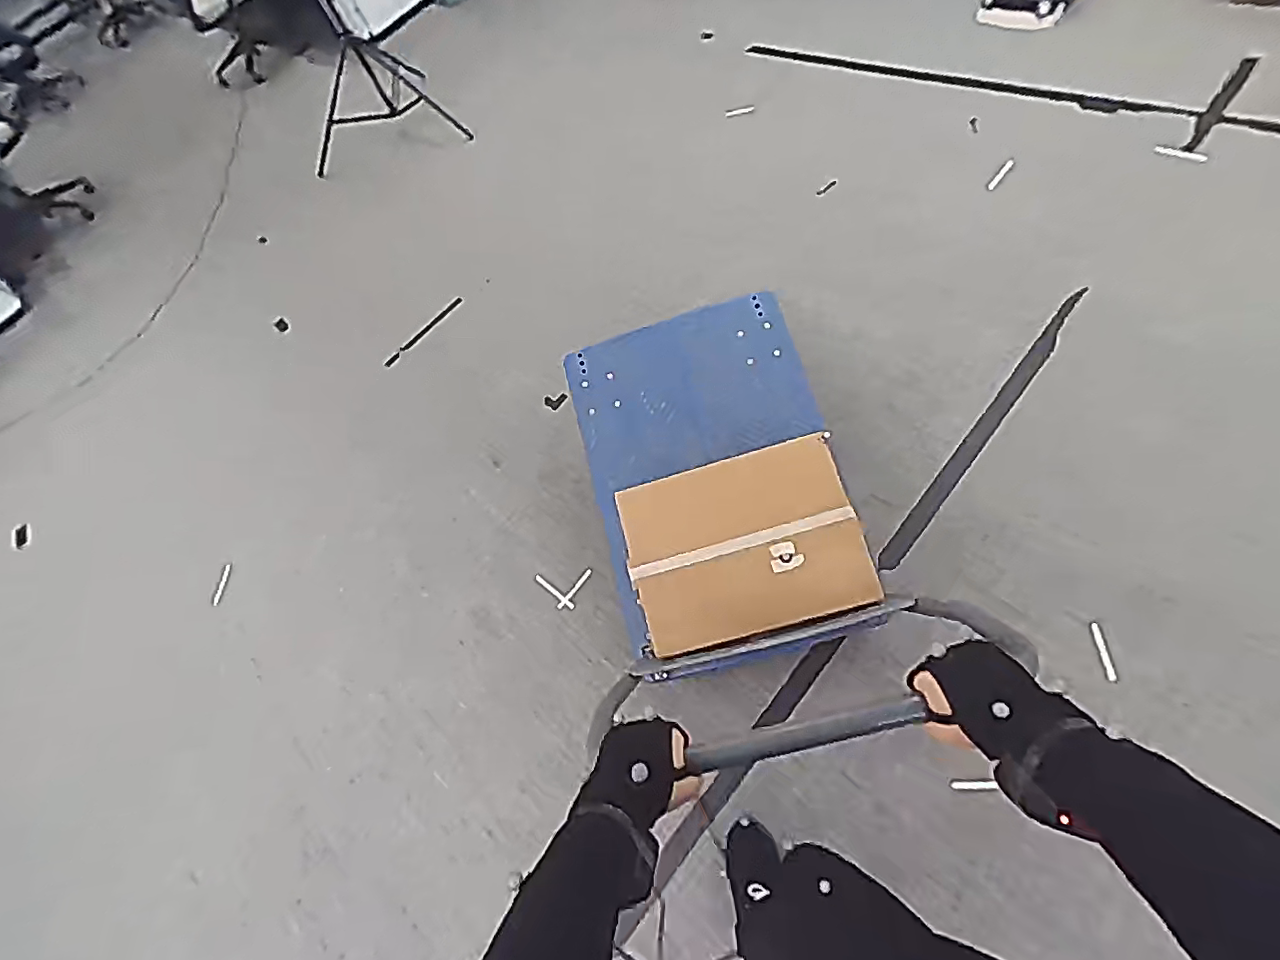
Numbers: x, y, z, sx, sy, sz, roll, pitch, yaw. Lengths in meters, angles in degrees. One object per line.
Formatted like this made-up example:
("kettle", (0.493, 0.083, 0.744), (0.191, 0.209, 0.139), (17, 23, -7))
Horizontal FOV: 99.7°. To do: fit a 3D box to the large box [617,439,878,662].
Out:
("large box", (0.205, 0.159, 1.126), (0.408, 0.320, 0.320), (-17, 75, 4))
